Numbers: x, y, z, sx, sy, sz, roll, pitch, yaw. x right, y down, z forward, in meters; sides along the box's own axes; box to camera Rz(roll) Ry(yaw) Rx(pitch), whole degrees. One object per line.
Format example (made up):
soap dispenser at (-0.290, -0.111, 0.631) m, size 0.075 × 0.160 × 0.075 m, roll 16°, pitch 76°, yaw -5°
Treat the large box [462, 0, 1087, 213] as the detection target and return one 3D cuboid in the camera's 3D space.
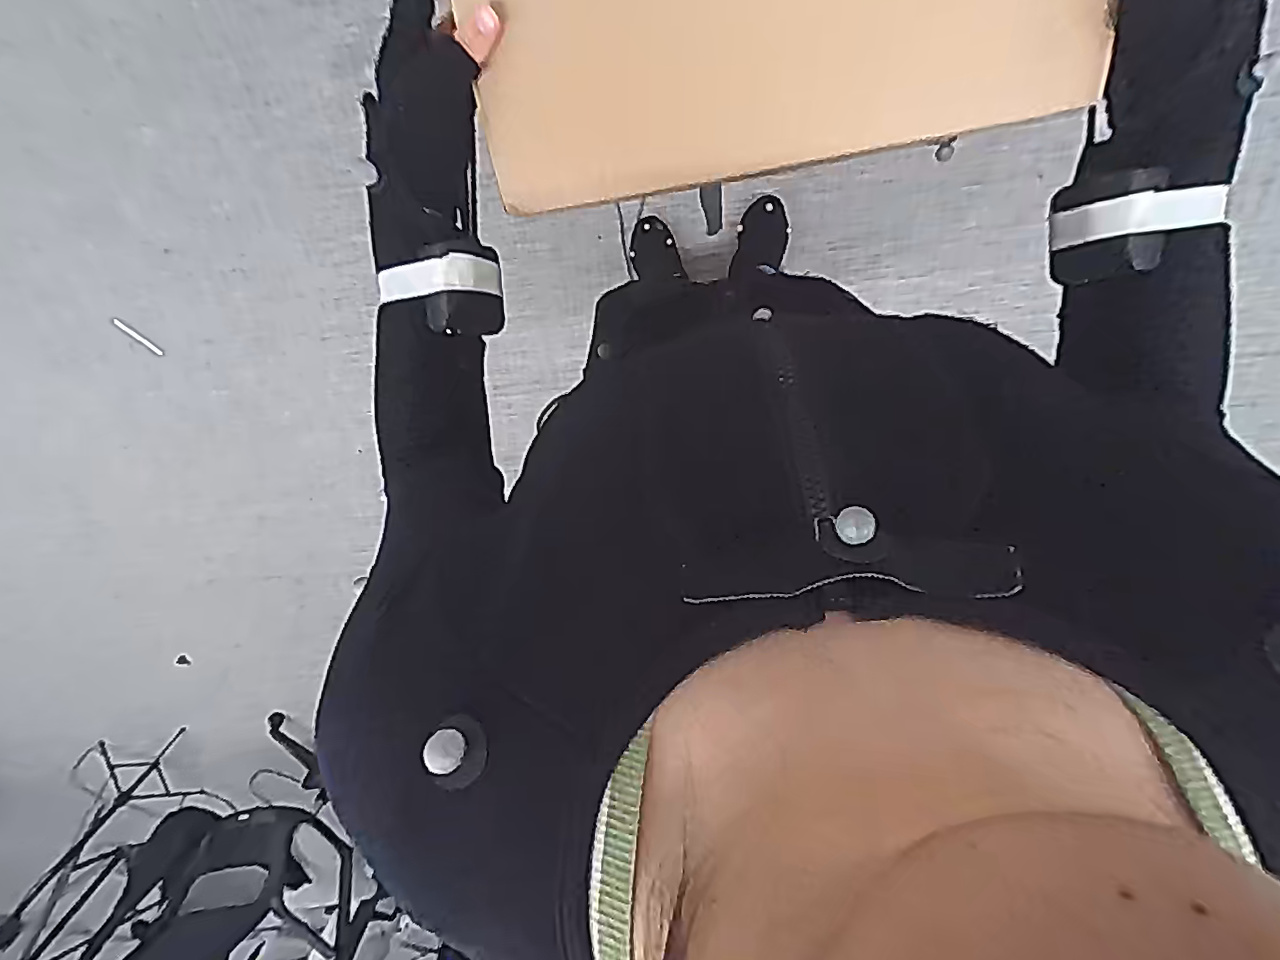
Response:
large box at (0.084, -0.435, 0.451) m, size 0.408 × 0.320 × 0.320 m, roll -6°, pitch 117°, yaw 8°
